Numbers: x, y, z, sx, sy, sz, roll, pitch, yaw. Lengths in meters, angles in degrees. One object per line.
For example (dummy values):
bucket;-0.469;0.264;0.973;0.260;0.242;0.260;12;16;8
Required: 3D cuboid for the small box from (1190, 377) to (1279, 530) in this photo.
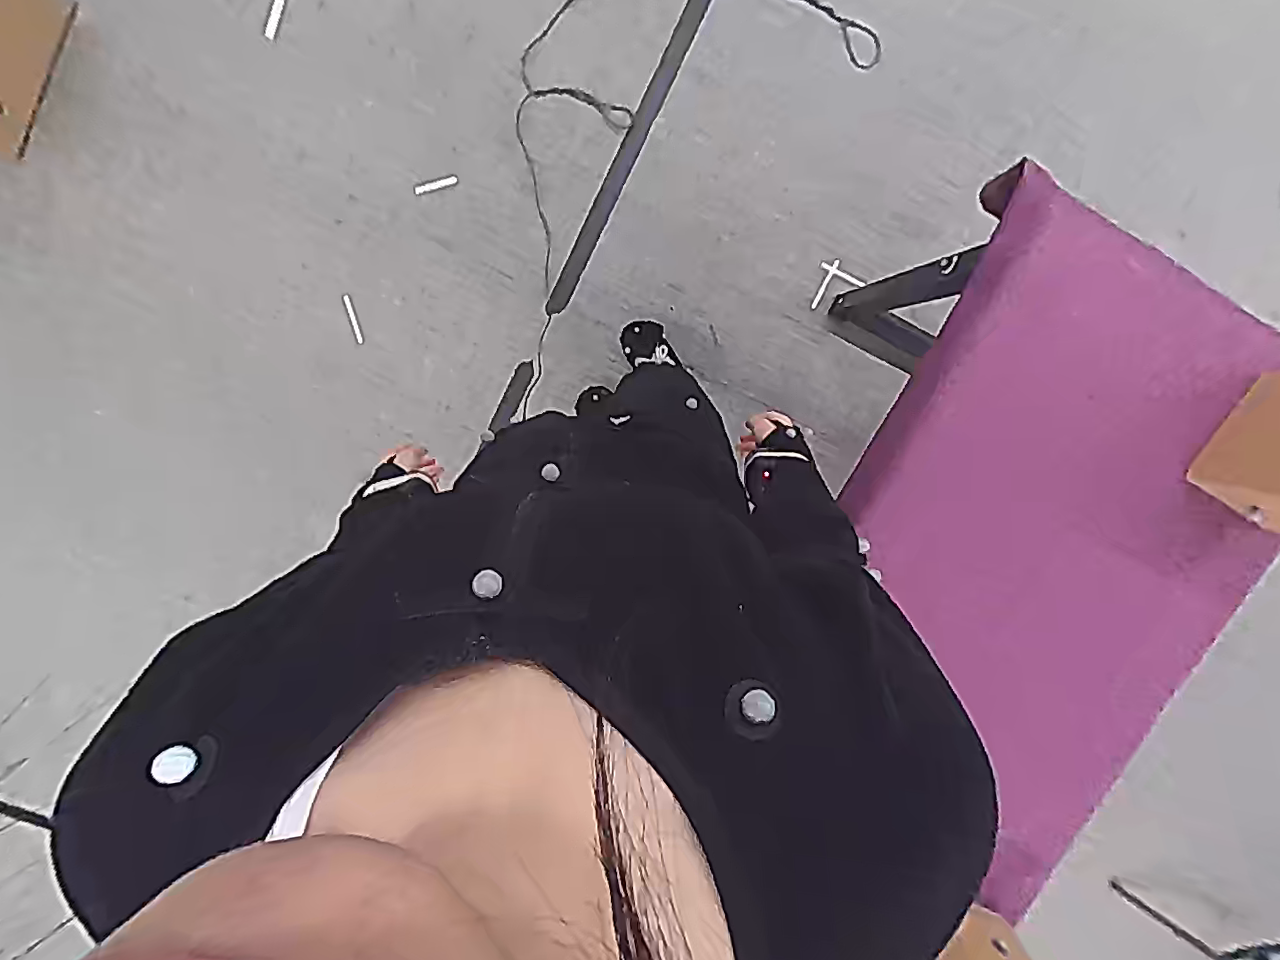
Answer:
small box;0.911;-0.026;0.713;0.168;0.176;0.179;29;100;-6
